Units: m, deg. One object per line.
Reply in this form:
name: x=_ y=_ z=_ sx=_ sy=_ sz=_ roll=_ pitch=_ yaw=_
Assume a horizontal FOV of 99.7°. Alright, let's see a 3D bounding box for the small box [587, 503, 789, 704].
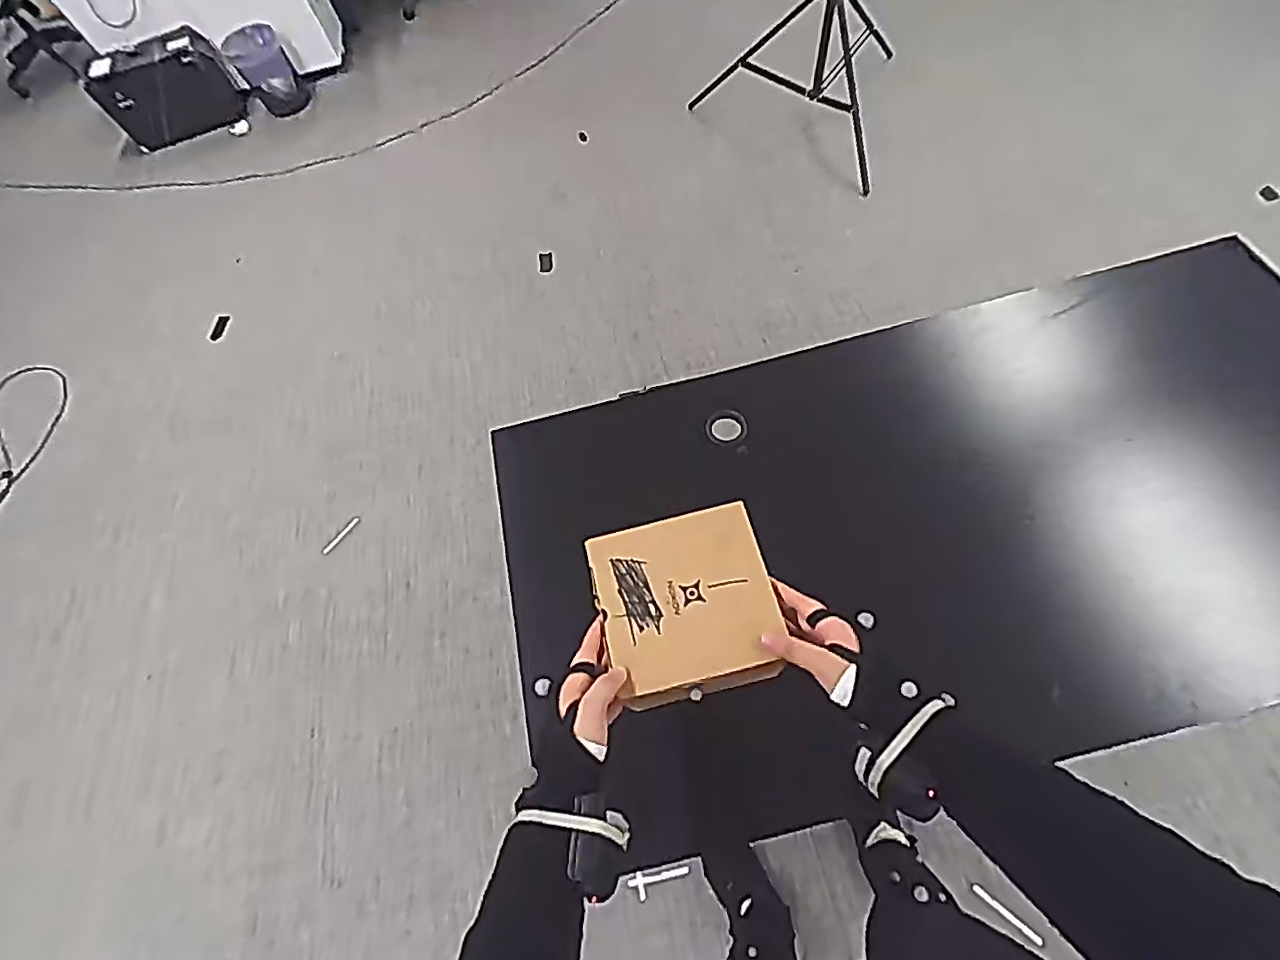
small box: x=0.052 y=0.149 z=0.617 sx=0.179 sy=0.176 sz=0.168 roll=-14 pitch=64 yaw=0
